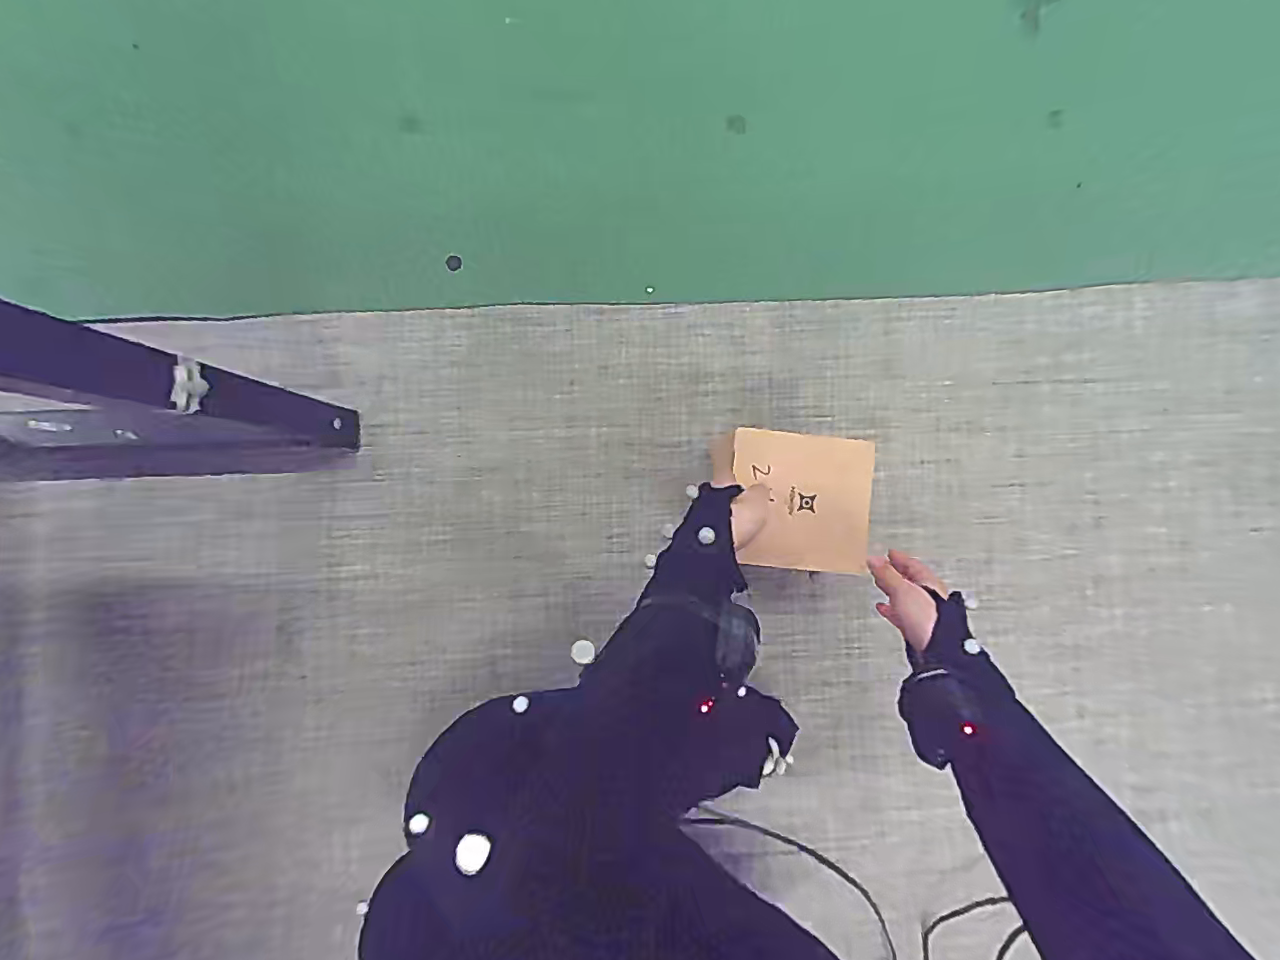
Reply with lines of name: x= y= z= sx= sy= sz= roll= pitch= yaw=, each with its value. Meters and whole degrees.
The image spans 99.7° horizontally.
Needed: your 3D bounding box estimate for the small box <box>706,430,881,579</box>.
small box: x=0.195 y=0.031 z=0.731 sx=0.179 sy=0.176 sz=0.168 roll=6 pitch=88 yaw=-1
